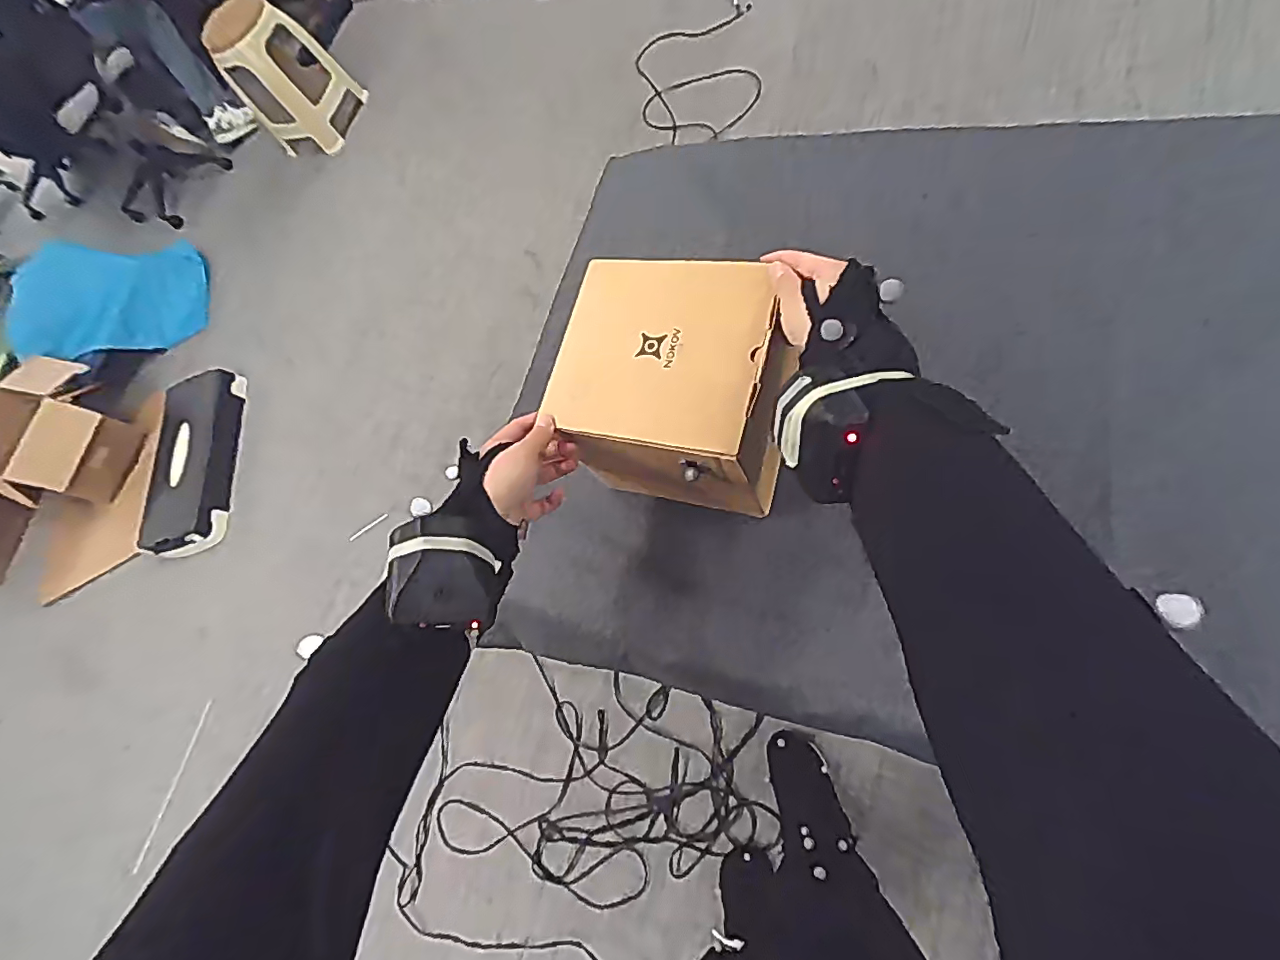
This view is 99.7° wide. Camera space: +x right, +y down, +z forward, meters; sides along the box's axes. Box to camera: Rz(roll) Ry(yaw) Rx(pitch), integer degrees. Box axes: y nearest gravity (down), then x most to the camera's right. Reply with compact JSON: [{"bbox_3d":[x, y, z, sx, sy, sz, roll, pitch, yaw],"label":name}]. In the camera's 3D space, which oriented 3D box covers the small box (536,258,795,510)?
[{"bbox_3d":[0.038,-0.081,0.504,0.179,0.176,0.168,11,75,22],"label":"small box"}]
